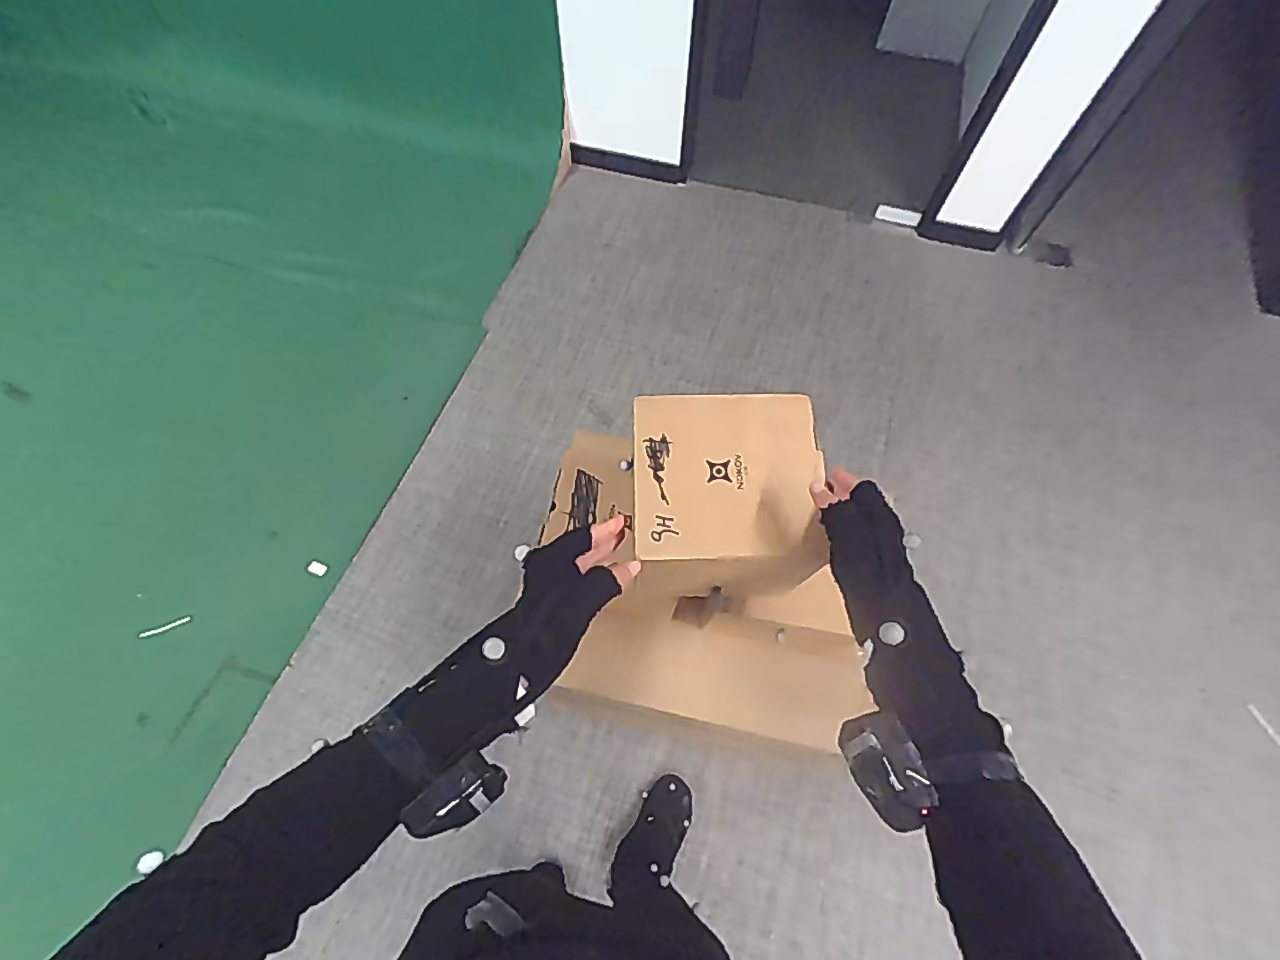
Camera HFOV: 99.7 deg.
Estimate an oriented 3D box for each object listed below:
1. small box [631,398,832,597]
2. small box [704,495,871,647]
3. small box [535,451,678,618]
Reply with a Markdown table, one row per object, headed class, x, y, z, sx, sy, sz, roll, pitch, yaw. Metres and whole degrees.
| class | x | y | z | sx | sy | sz | roll | pitch | yaw |
| --- | --- | --- | --- | --- | --- | --- | --- | --- | --- |
| small box | 0.081 | 0.027 | 0.577 | 0.179 | 0.176 | 0.168 | 0 | 67 | -2 |
| small box | 0.186 | 0.120 | 0.717 | 0.179 | 0.176 | 0.168 | 9 | 68 | 2 |
| small box | -0.024 | 0.081 | 0.731 | 0.179 | 0.176 | 0.168 | 10 | 67 | 4 |
